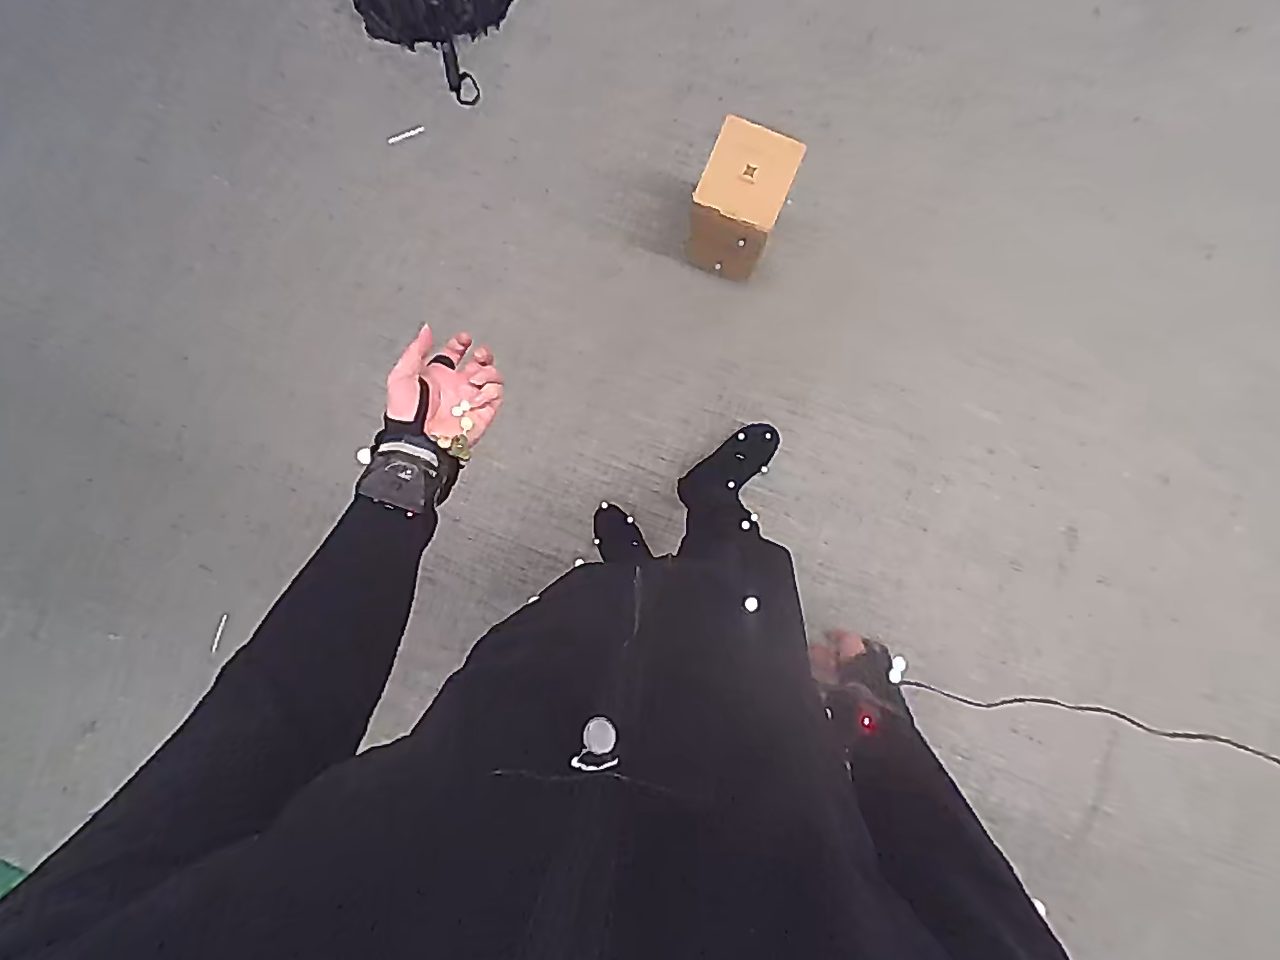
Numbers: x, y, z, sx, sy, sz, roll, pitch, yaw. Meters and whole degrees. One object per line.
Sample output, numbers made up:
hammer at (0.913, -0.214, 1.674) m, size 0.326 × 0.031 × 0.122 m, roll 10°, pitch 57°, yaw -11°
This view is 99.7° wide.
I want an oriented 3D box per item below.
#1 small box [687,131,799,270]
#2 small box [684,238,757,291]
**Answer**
small box at (0.203, -0.566, 1.121) m, size 0.168 × 0.176 × 0.179 m, roll 22°, pitch 92°, yaw 1°
small box at (0.212, -0.574, 1.284) m, size 0.168 × 0.176 × 0.179 m, roll 22°, pitch 94°, yaw 2°
